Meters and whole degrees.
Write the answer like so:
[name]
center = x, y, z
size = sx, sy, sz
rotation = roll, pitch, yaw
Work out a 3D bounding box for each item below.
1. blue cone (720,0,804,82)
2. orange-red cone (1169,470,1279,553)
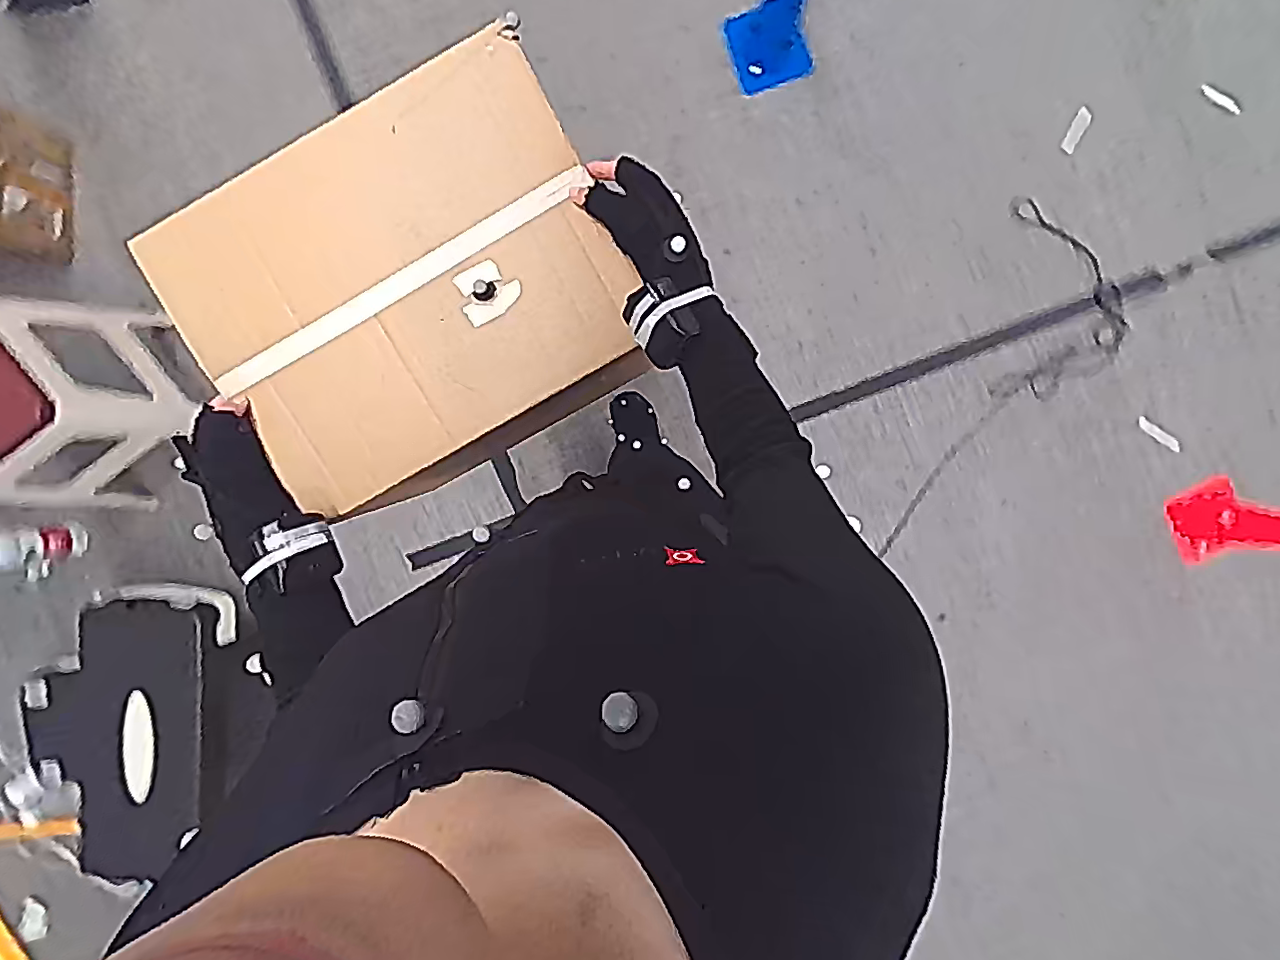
[blue cone]
center = 0.324, -1.140, 1.244
size = 0.193, 0.380, 0.192
rotation = -19, 93, 0
[orange-red cone]
center = 1.607, 0.102, 1.351
size = 0.199, 0.360, 0.198
rotation = -25, 95, -1
